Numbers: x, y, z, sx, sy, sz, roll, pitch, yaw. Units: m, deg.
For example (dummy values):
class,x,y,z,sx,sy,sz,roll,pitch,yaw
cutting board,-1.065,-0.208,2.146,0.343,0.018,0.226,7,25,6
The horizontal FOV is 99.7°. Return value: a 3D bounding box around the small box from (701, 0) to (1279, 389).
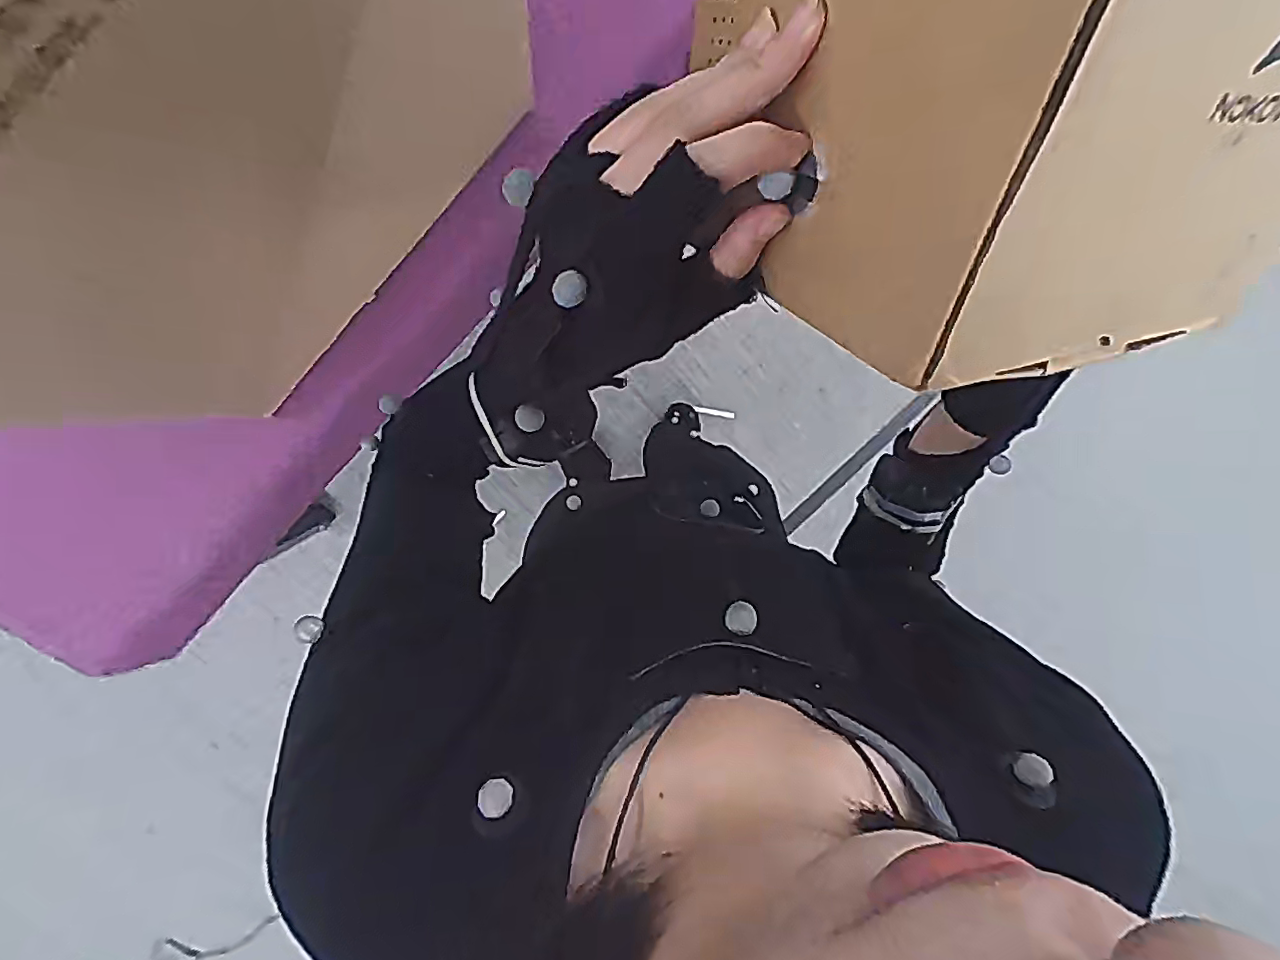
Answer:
class,x,y,z,sx,sy,sz,roll,pitch,yaw
small box,0.136,-0.156,0.184,0.168,0.176,0.179,-13,132,-21
